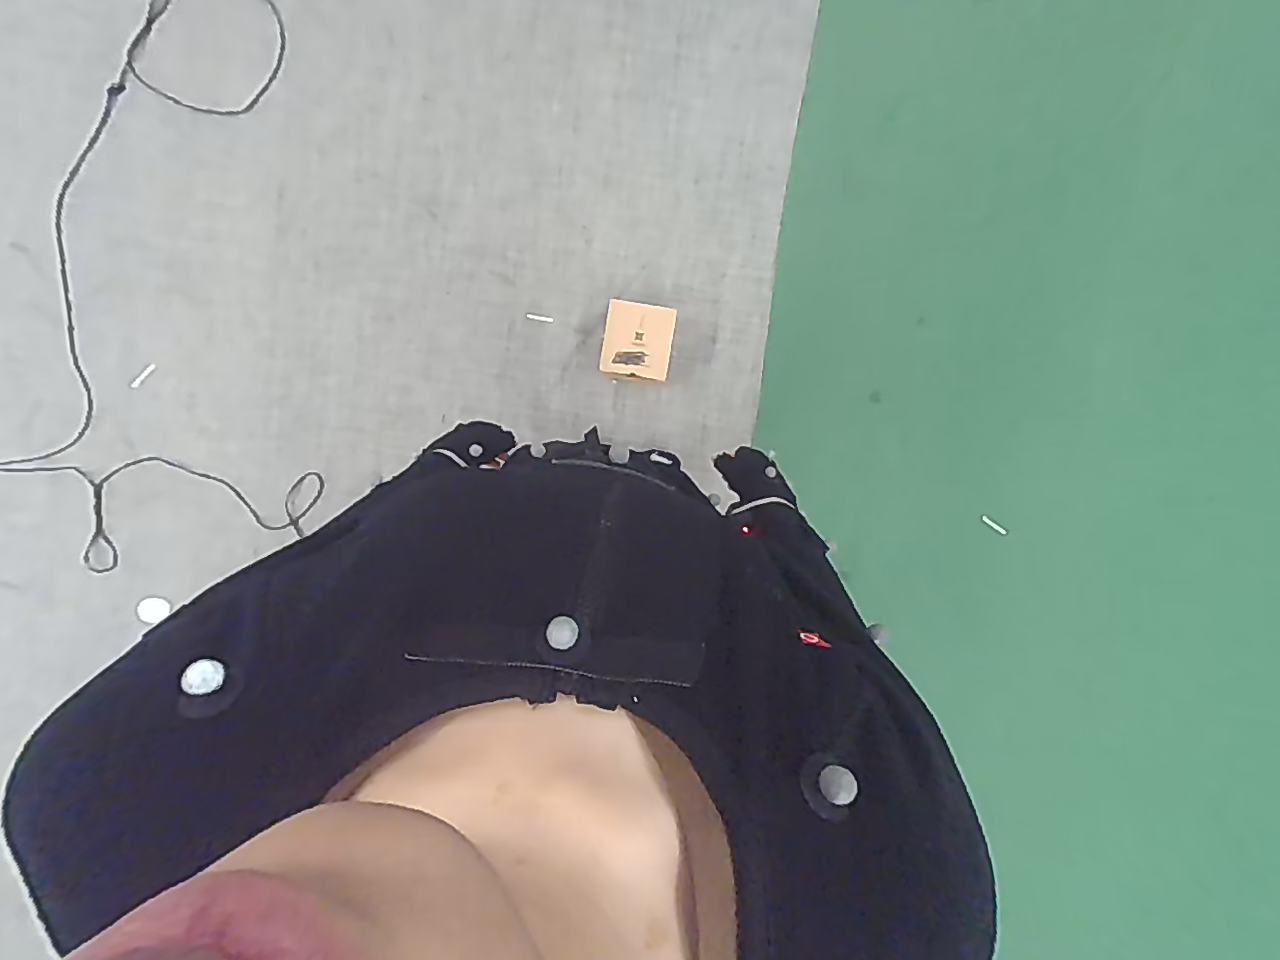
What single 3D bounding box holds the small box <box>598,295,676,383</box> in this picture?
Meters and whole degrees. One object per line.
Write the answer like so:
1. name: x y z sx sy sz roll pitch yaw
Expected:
1. small box: -0.007 -0.347 1.366 0.168 0.176 0.179 9 94 -1
